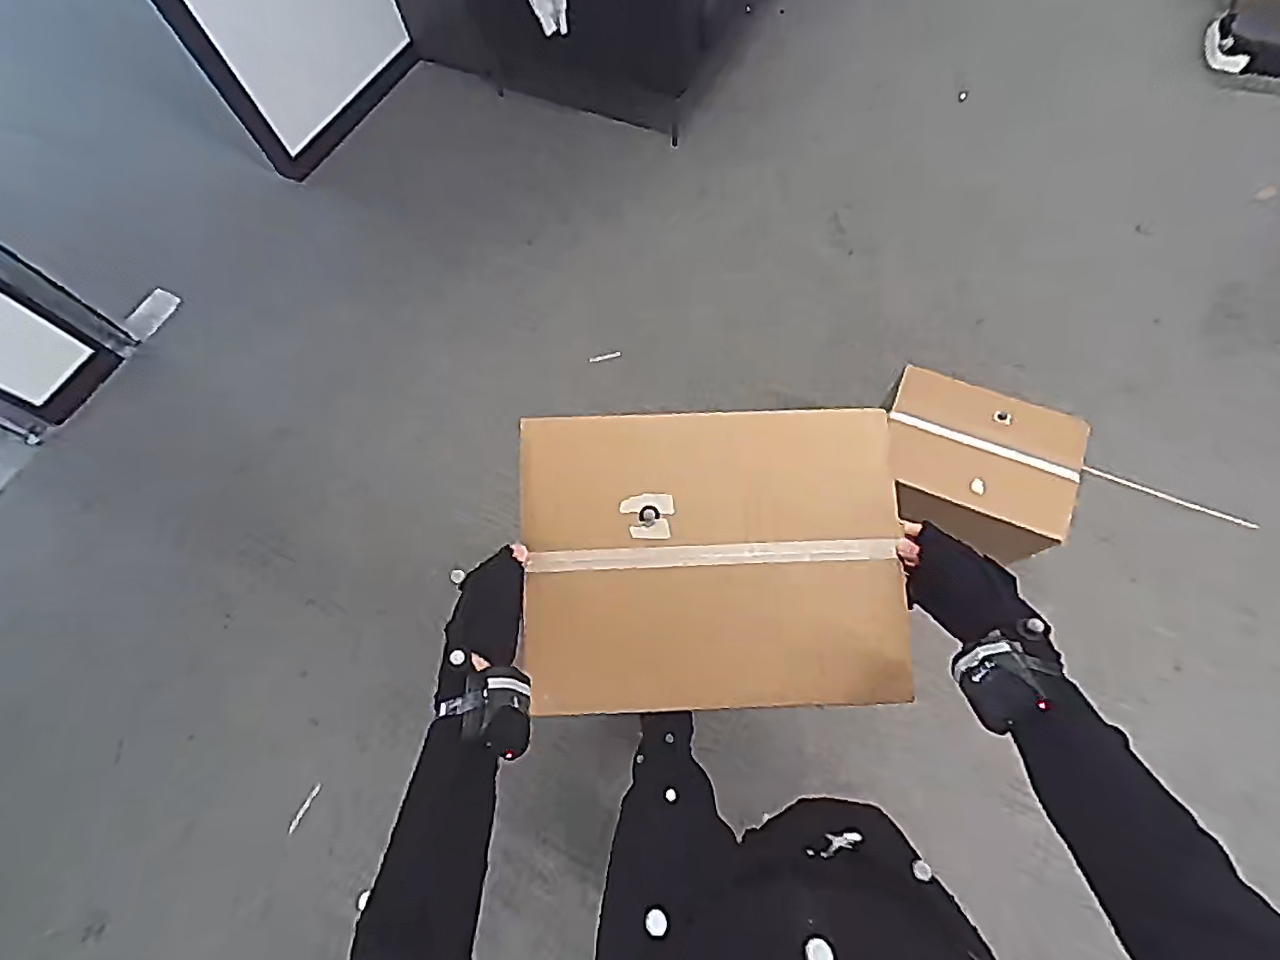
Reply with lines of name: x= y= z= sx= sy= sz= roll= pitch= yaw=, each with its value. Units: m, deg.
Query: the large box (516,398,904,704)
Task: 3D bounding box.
large box: x=0.072 y=0.087 z=0.721 sx=0.408 sy=0.320 sz=0.320 roll=-2 pitch=83 yaw=1
